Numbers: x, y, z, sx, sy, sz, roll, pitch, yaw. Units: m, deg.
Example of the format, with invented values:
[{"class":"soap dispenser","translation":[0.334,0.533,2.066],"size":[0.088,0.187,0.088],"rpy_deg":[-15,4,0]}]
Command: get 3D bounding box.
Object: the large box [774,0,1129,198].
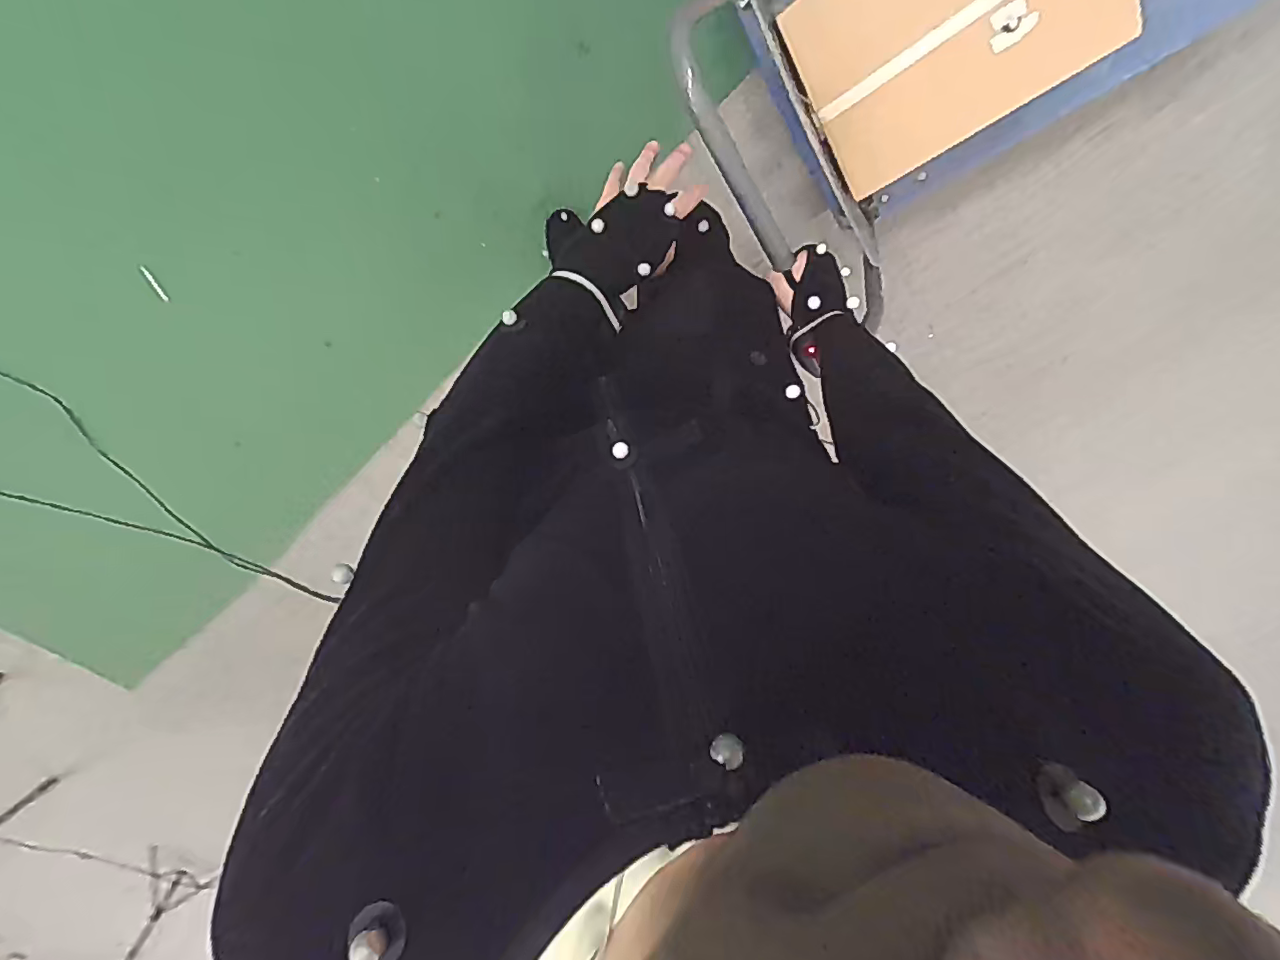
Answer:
[{"class":"large box","translation":[0.480,-0.765,0.911],"size":[0.408,0.320,0.320],"rpy_deg":[-23,121,30]}]
